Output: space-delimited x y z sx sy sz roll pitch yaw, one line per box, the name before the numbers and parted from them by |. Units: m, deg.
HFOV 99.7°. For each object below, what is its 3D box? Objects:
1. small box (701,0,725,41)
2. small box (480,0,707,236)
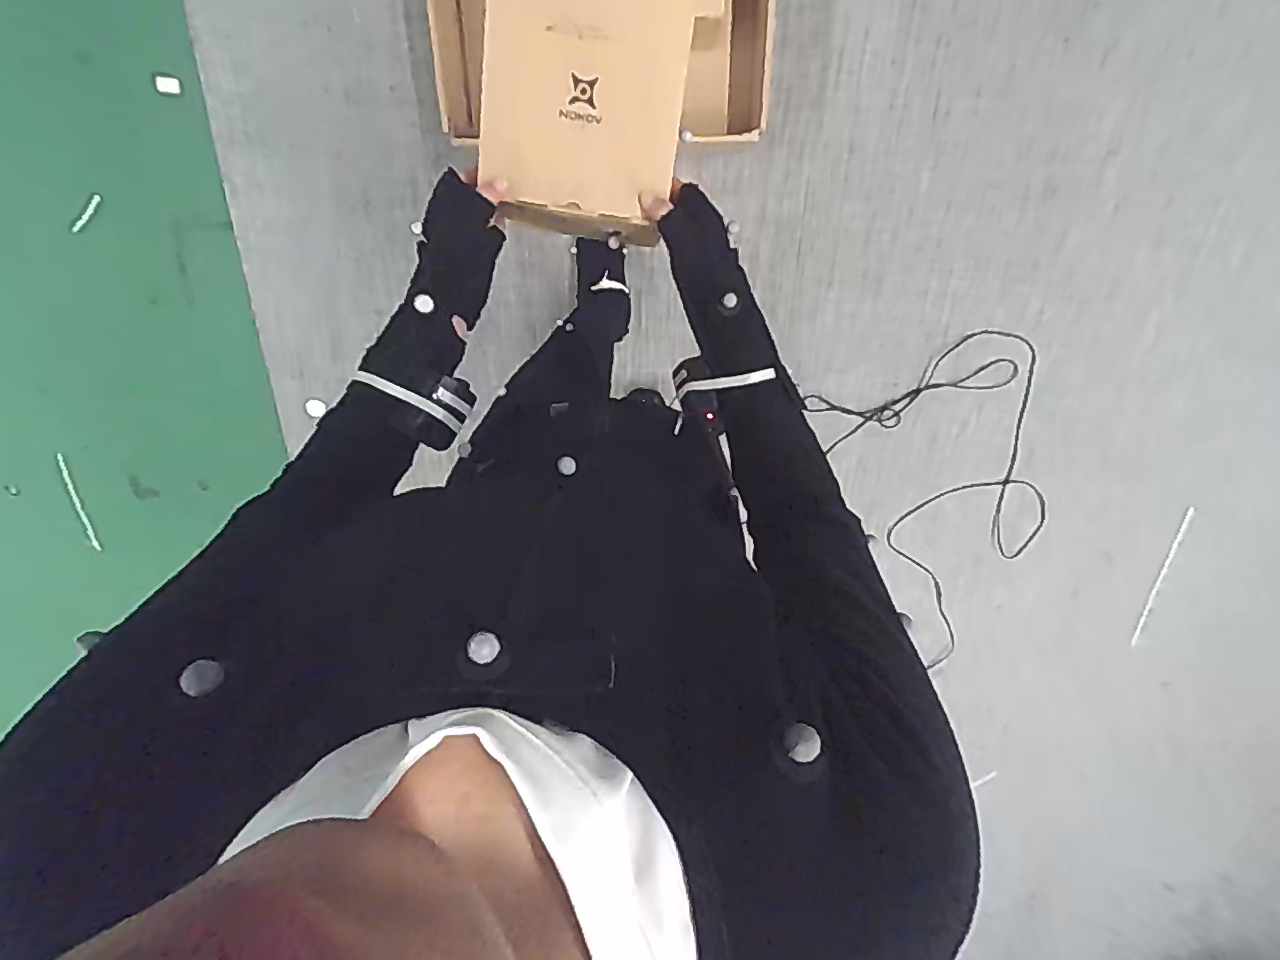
small box | 0.065 -0.914 0.970 0.168 0.176 0.179 -3 113 4
small box | -0.041 -0.337 0.501 0.168 0.176 0.179 8 107 -4
